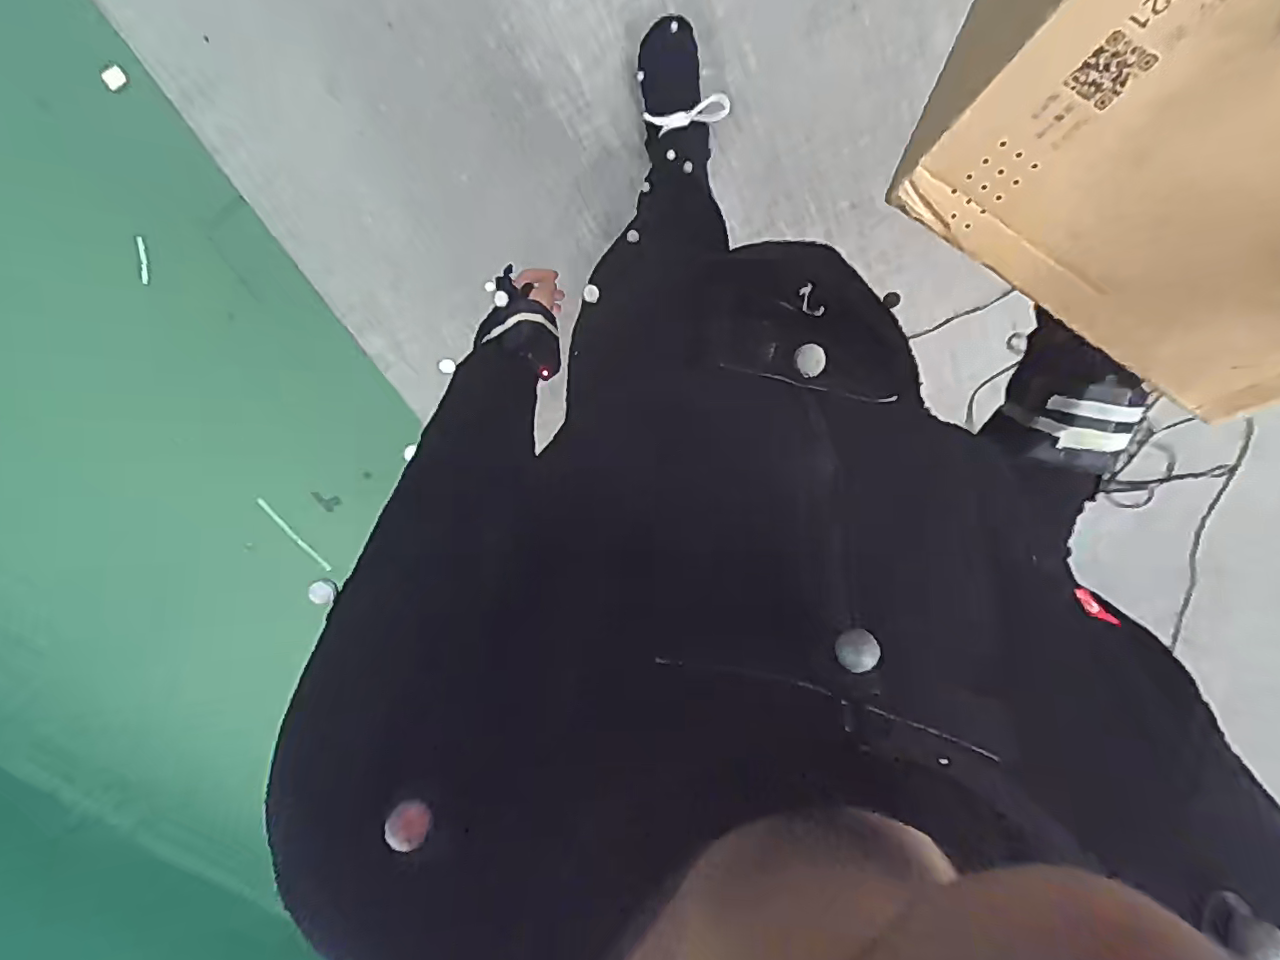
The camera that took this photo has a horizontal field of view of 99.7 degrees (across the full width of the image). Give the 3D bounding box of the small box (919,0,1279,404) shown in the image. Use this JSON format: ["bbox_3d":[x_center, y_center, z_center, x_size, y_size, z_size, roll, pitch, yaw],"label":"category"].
[{"bbox_3d":[0.227,-0.164,0.167,0.176,0.179,0.168,34,155,-6],"label":"small box"}]
